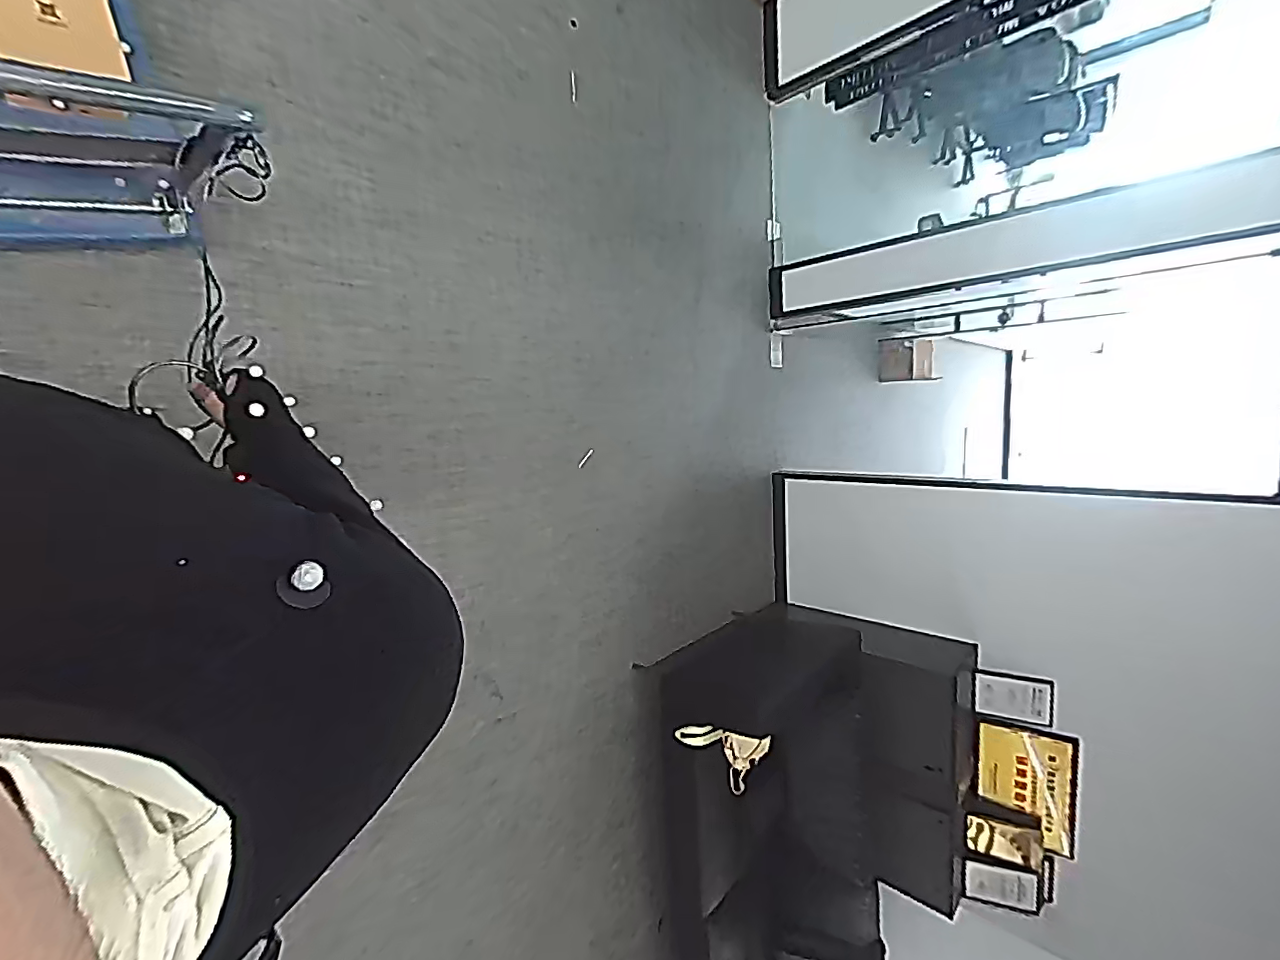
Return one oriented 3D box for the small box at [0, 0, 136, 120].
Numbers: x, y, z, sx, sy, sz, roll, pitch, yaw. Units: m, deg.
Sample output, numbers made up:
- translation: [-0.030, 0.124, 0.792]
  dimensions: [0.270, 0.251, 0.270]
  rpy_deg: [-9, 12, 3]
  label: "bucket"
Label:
- translation: [-1.012, -0.762, 0.931]
  dimensions: [0.168, 0.176, 0.179]
  rpy_deg: [-21, 109, -44]
  label: "small box"
